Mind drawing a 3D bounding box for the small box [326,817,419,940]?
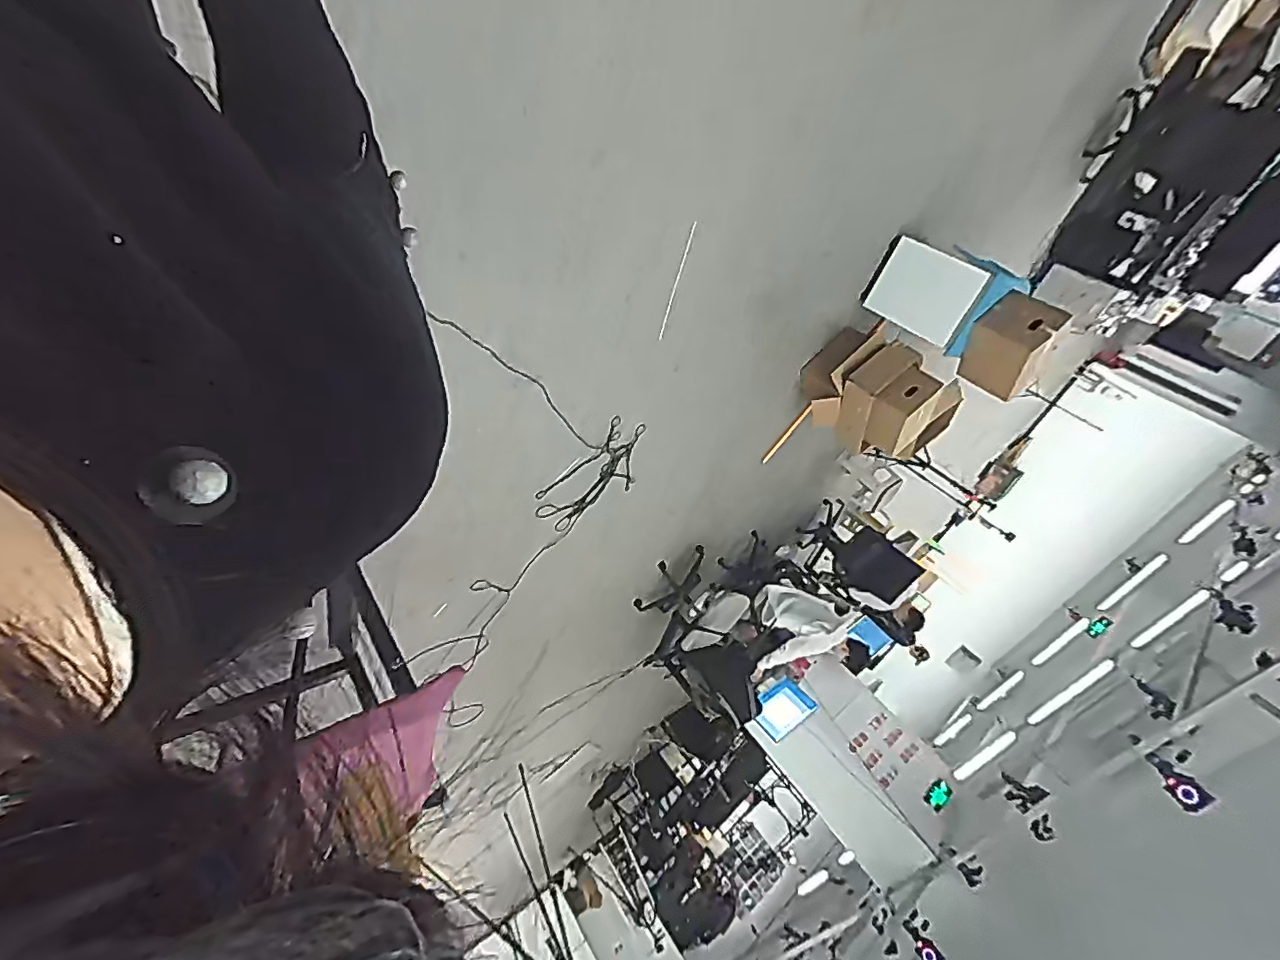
[{"bbox_3d":[-0.695,1.027,1.403,0.179,0.176,0.168,-20,140,-36],"label":"small box"}]

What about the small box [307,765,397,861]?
[{"bbox_3d":[-0.790,0.931,1.492,0.179,0.176,0.168,-18,139,-37],"label":"small box"}]
